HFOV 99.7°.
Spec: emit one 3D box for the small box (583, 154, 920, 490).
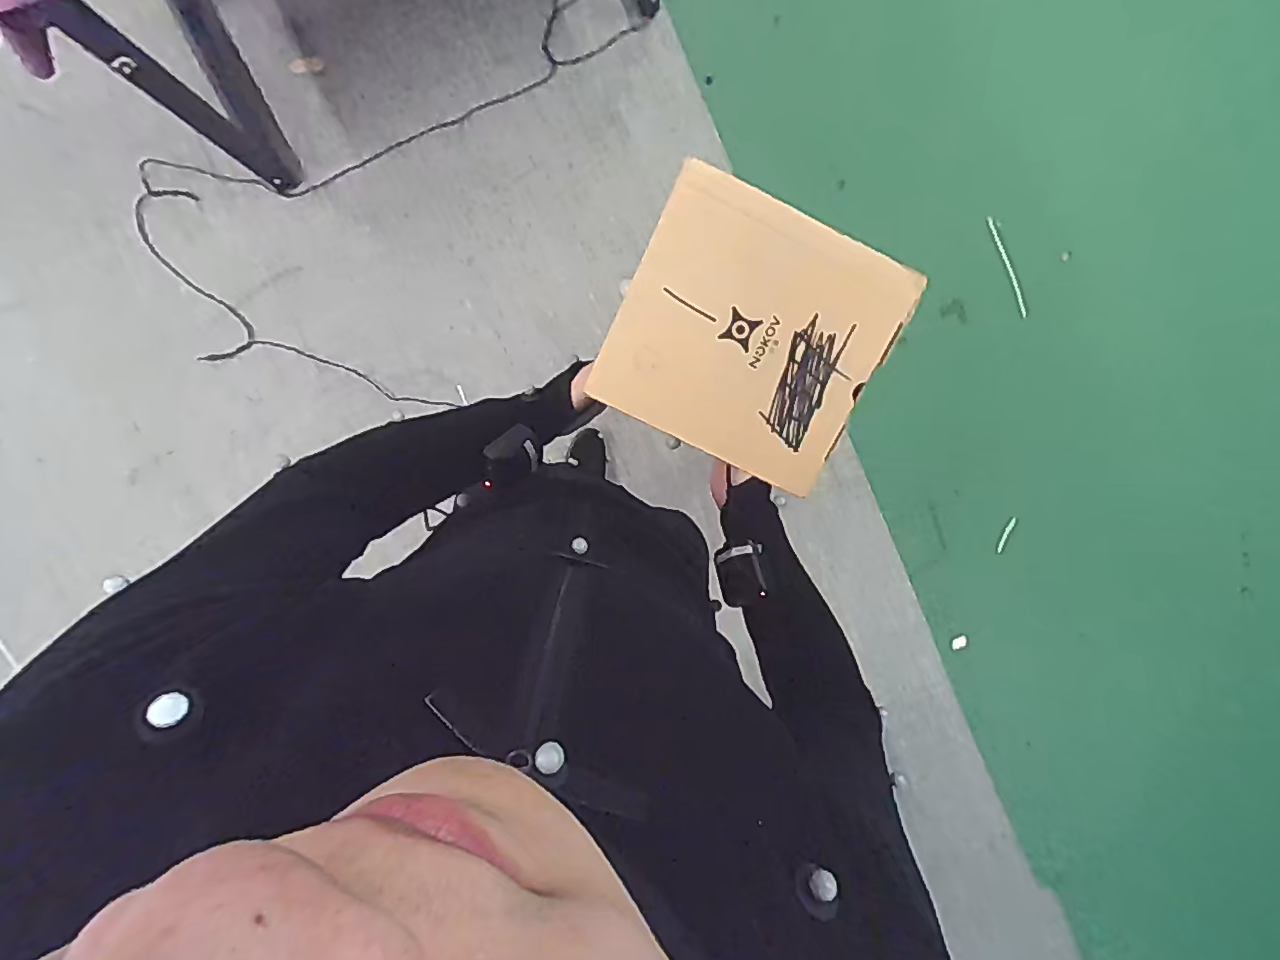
[{"bbox_3d":[0.073,-0.116,0.437,0.179,0.176,0.168,25,101,-5],"label":"small box"}]
